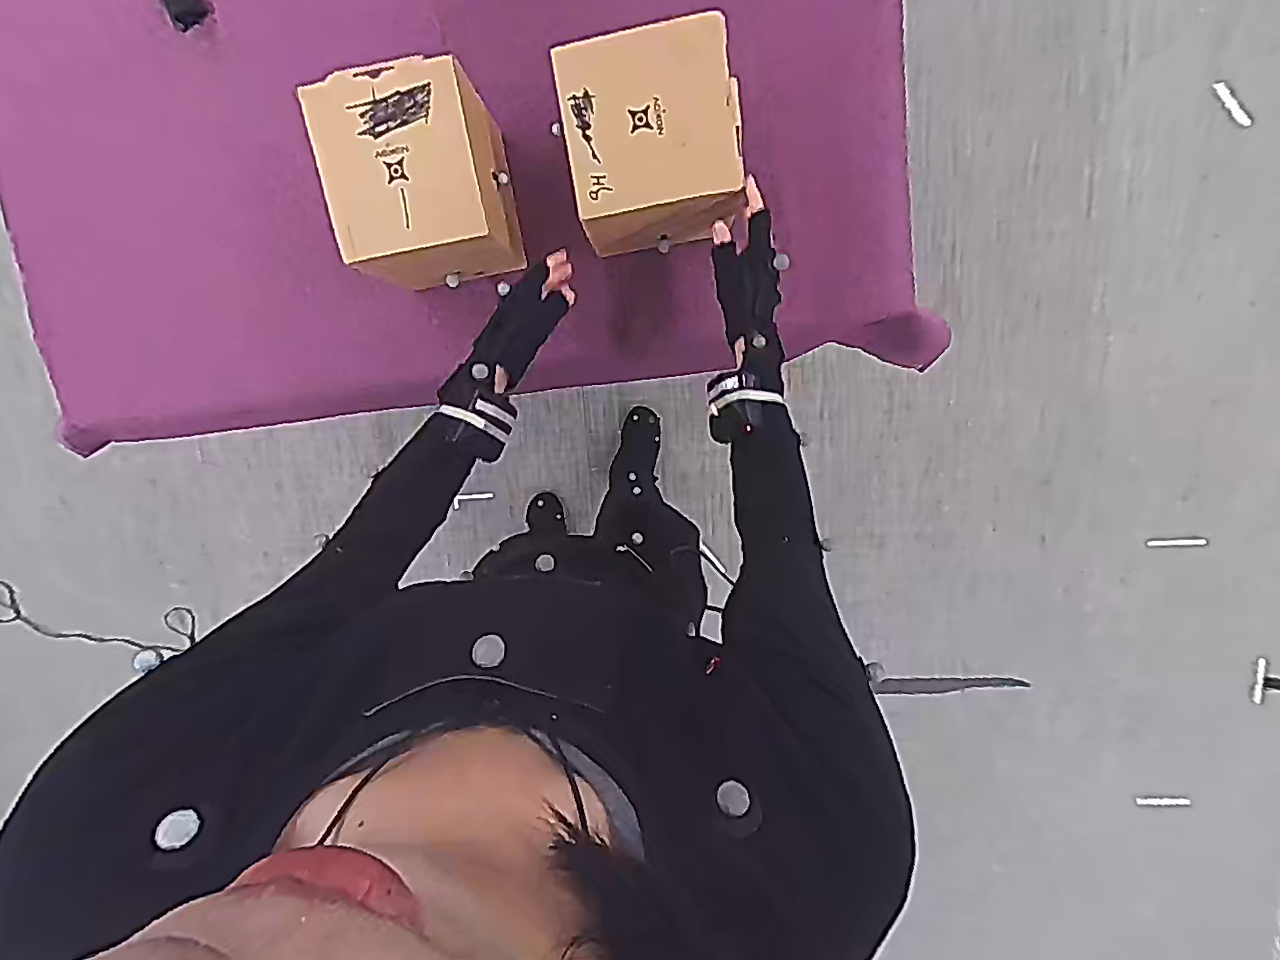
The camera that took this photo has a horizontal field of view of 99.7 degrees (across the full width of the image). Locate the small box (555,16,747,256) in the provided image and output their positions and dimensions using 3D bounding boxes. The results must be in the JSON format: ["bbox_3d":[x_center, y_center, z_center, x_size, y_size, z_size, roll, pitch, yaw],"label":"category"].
[{"bbox_3d":[0.014,-0.373,0.619,0.179,0.176,0.168,-9,98,3],"label":"small box"}]

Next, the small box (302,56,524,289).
[{"bbox_3d":[-0.247,-0.340,0.634,0.168,0.176,0.179,-9,99,4],"label":"small box"}]
